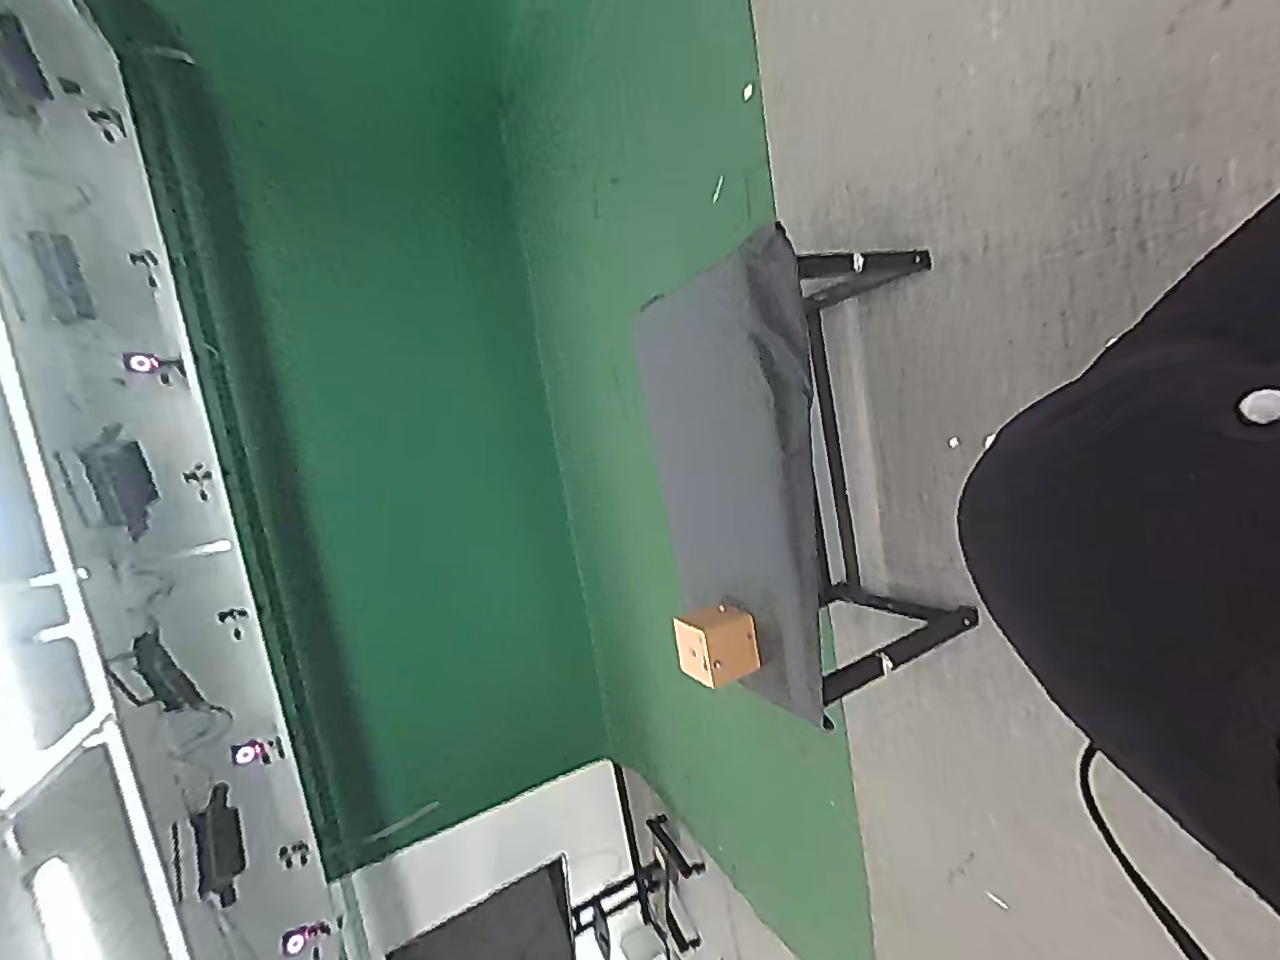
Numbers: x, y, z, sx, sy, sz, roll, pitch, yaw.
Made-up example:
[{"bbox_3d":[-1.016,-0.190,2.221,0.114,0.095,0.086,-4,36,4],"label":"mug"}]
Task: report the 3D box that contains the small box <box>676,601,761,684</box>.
[{"bbox_3d":[0.229,0.467,1.591,0.179,0.176,0.168,0,102,65],"label":"small box"}]
